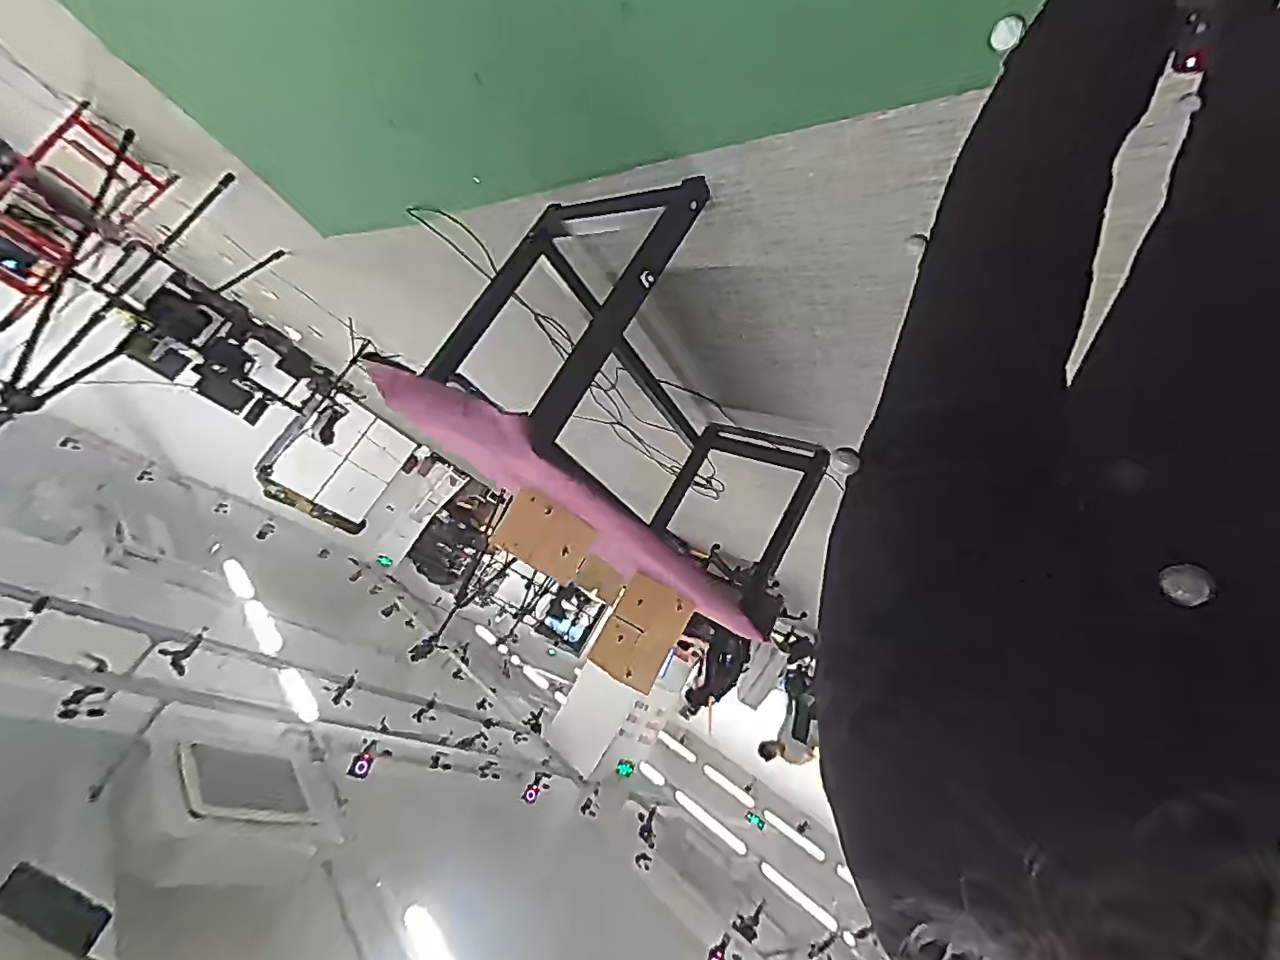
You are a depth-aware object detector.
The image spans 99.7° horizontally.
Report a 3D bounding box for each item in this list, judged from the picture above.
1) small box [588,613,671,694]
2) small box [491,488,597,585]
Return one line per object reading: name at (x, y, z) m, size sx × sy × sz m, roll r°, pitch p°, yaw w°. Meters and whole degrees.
small box at (-0.030, 0.567, 1.777) m, size 0.168 × 0.176 × 0.179 m, roll 14°, pitch 158°, yaw 50°
small box at (-0.246, 0.144, 1.418) m, size 0.168 × 0.176 × 0.179 m, roll 24°, pitch 165°, yaw 36°
